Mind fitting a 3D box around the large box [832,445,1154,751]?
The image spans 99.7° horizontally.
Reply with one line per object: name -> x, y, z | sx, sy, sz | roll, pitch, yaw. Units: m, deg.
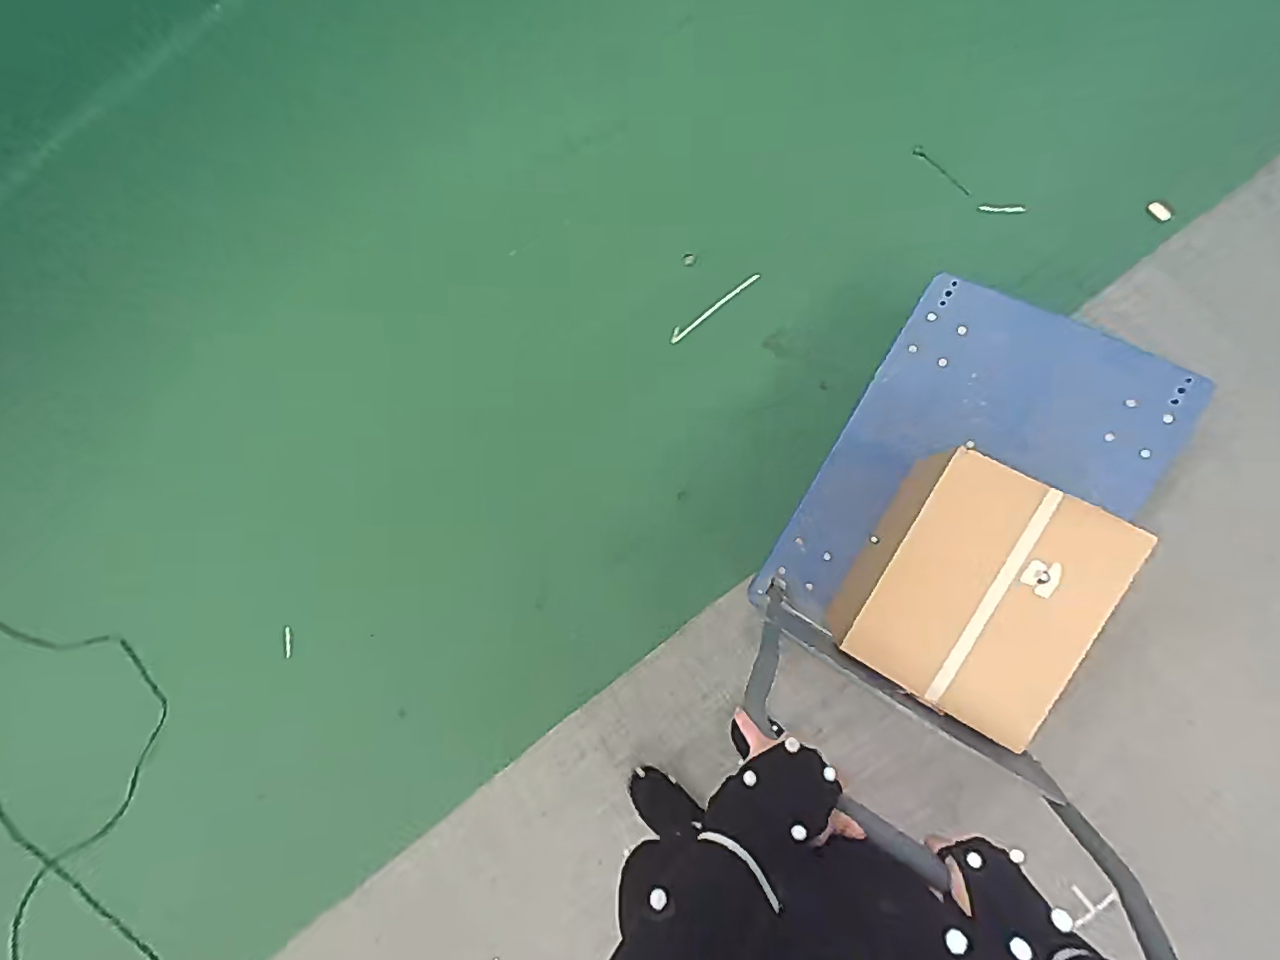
large box -> 0.607, 0.198, 1.020 | 0.320, 0.320, 0.408 | 30, 93, 13
